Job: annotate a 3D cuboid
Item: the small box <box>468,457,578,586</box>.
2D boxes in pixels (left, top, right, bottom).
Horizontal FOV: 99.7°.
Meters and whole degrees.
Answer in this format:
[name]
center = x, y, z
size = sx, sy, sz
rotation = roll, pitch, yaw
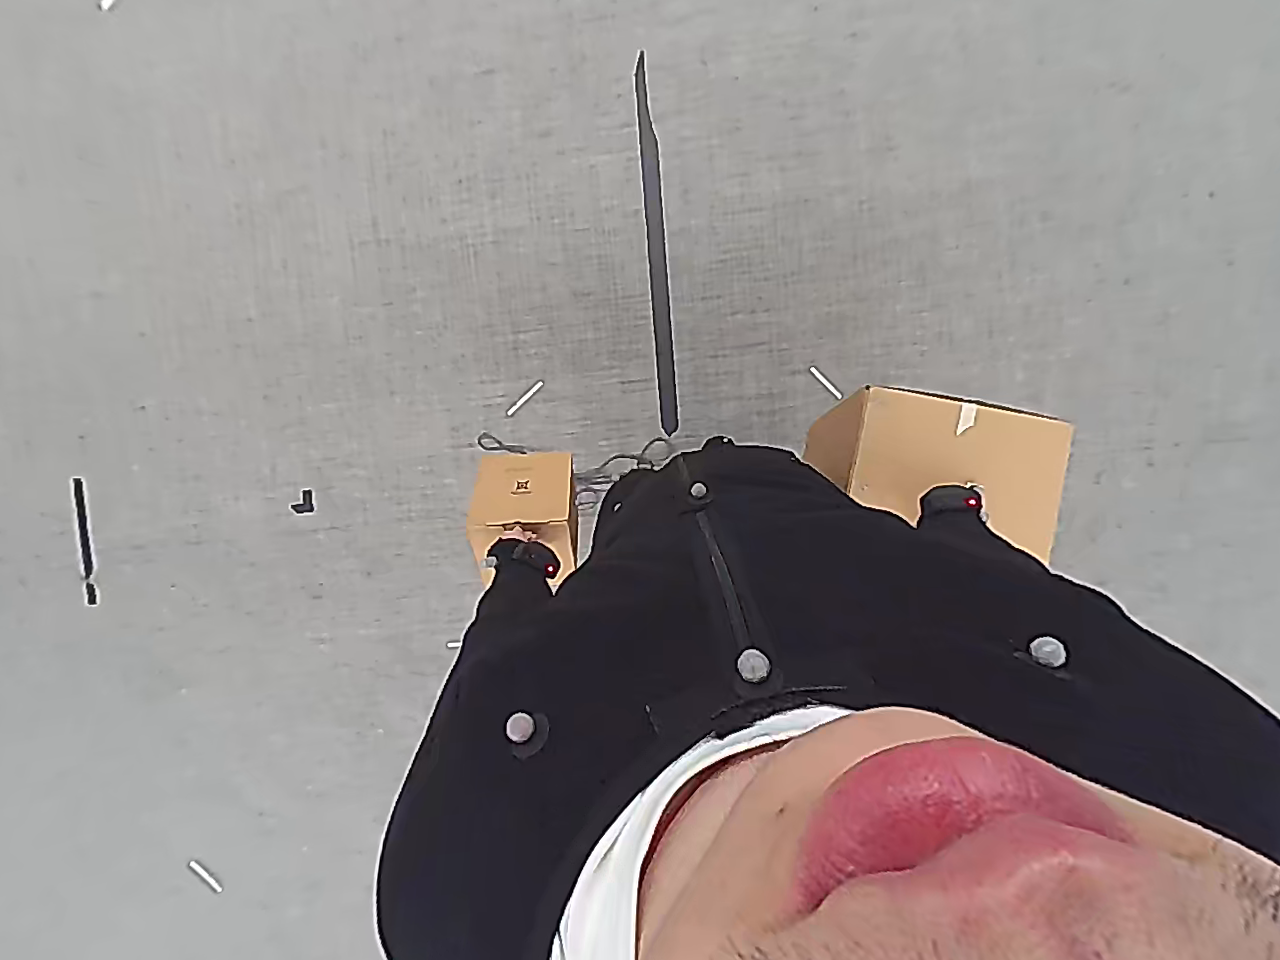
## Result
[small box]
center = -0.201, 0.080, 0.984
size = 0.168, 0.179, 0.176
rotation = -3, 132, -4
